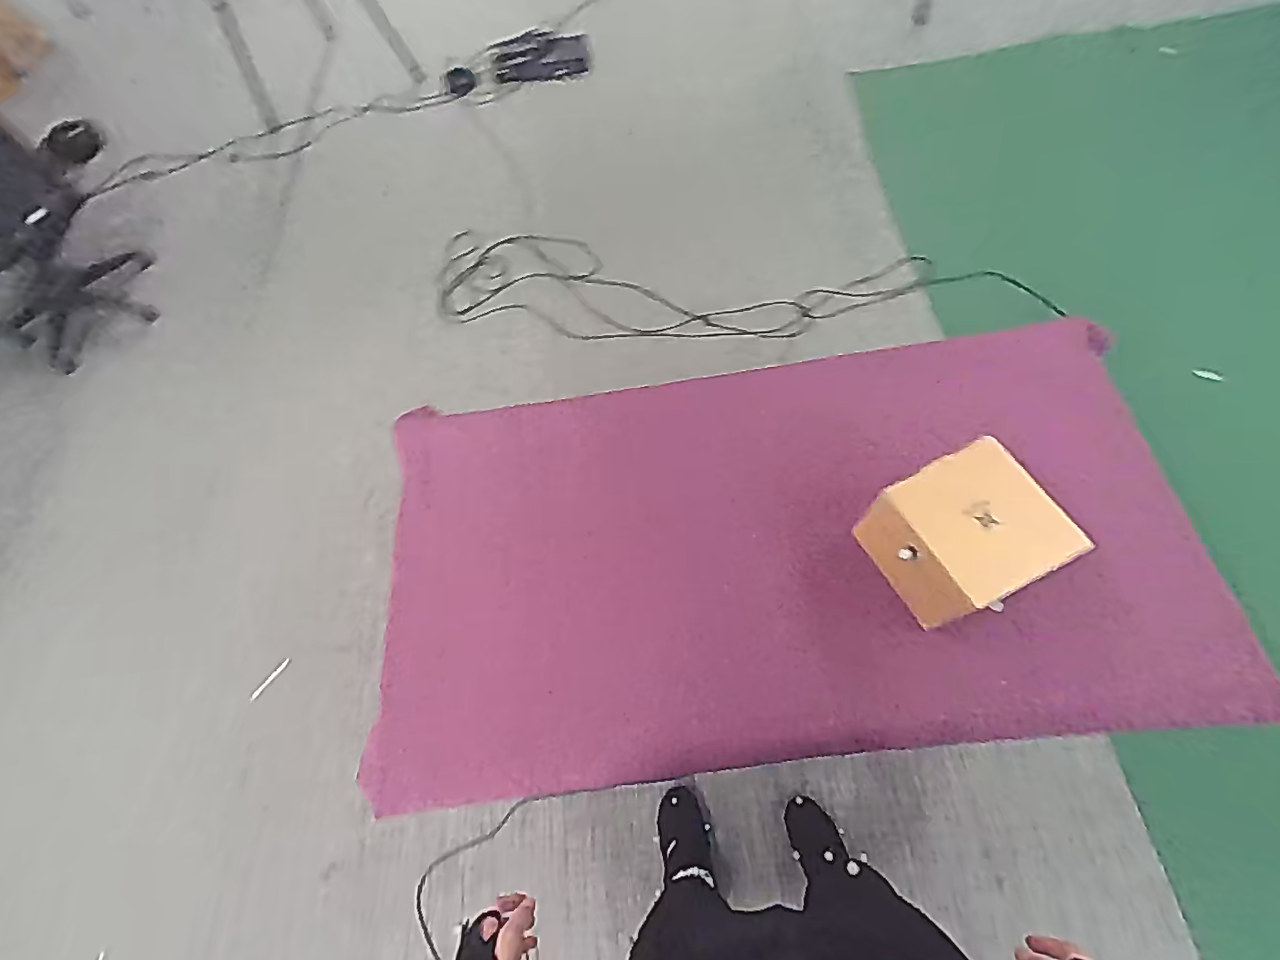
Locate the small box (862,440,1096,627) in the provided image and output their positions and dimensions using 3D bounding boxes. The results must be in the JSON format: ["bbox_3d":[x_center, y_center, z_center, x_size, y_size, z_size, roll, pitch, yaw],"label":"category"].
[{"bbox_3d":[0.433,0.083,0.728,0.168,0.176,0.179,-27,64,-4],"label":"small box"}]
